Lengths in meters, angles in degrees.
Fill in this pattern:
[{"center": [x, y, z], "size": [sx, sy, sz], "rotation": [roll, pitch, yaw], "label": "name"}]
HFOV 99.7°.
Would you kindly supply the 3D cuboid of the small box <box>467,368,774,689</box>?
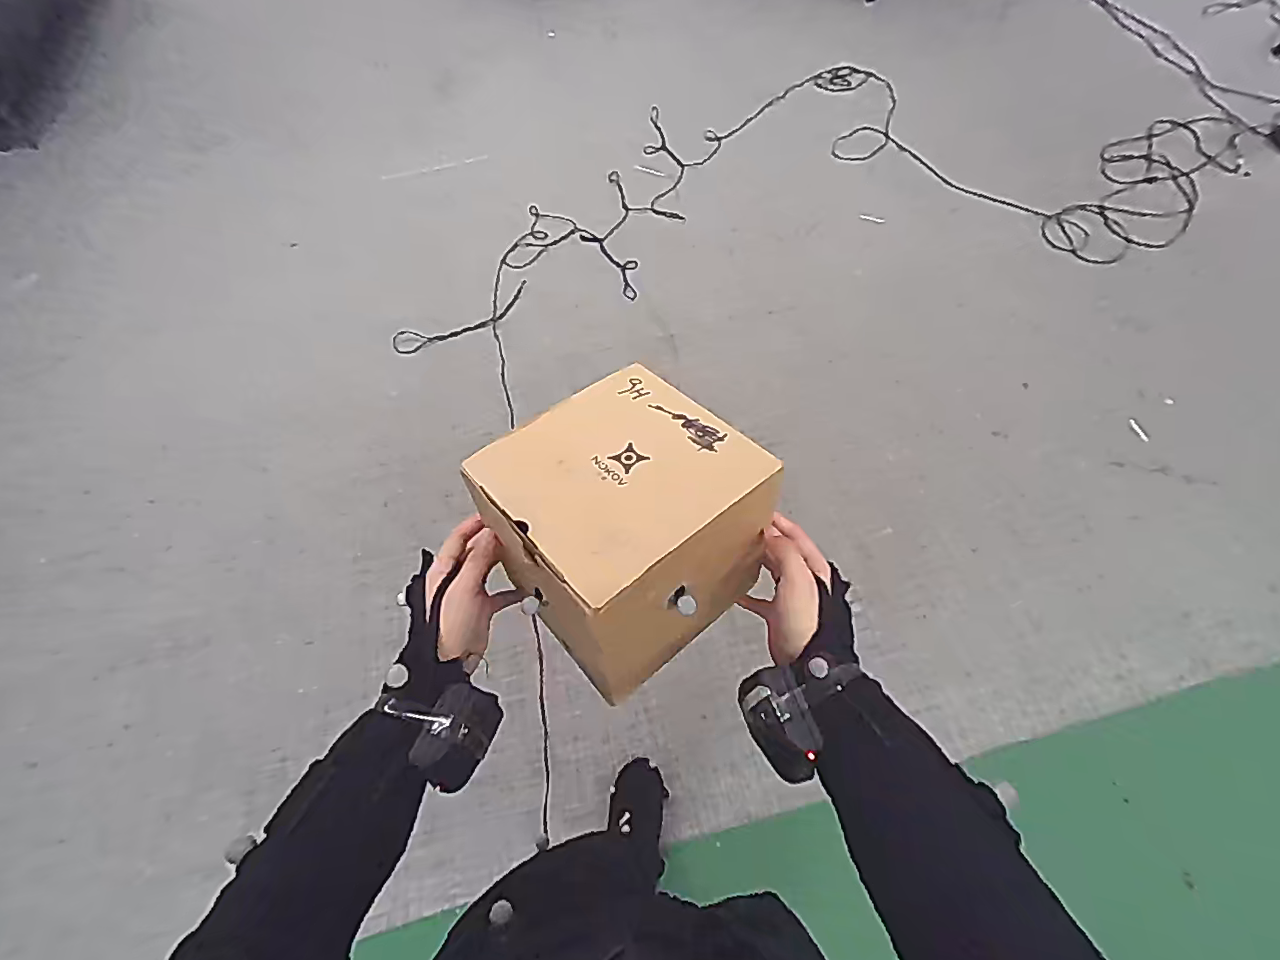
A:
[{"center": [-0.011, 0.042, 0.461], "size": [0.179, 0.176, 0.168], "rotation": [-35, 56, -23], "label": "small box"}]
